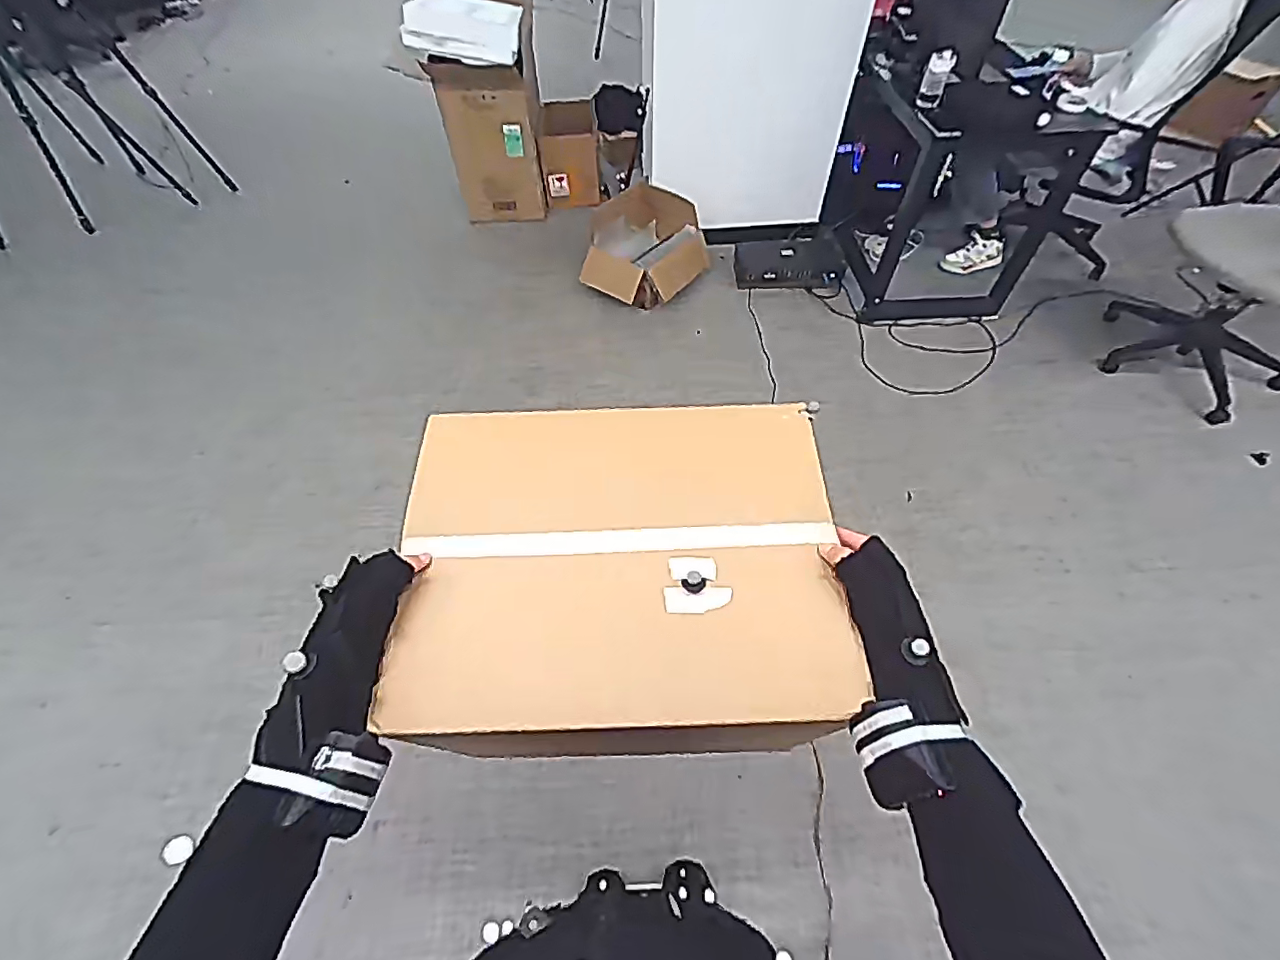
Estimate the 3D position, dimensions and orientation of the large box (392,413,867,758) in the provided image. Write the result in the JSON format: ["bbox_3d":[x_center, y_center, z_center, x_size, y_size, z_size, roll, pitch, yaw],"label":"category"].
[{"bbox_3d":[-0.013,0.141,0.648,0.408,0.320,0.320,-2,59,0],"label":"large box"}]
